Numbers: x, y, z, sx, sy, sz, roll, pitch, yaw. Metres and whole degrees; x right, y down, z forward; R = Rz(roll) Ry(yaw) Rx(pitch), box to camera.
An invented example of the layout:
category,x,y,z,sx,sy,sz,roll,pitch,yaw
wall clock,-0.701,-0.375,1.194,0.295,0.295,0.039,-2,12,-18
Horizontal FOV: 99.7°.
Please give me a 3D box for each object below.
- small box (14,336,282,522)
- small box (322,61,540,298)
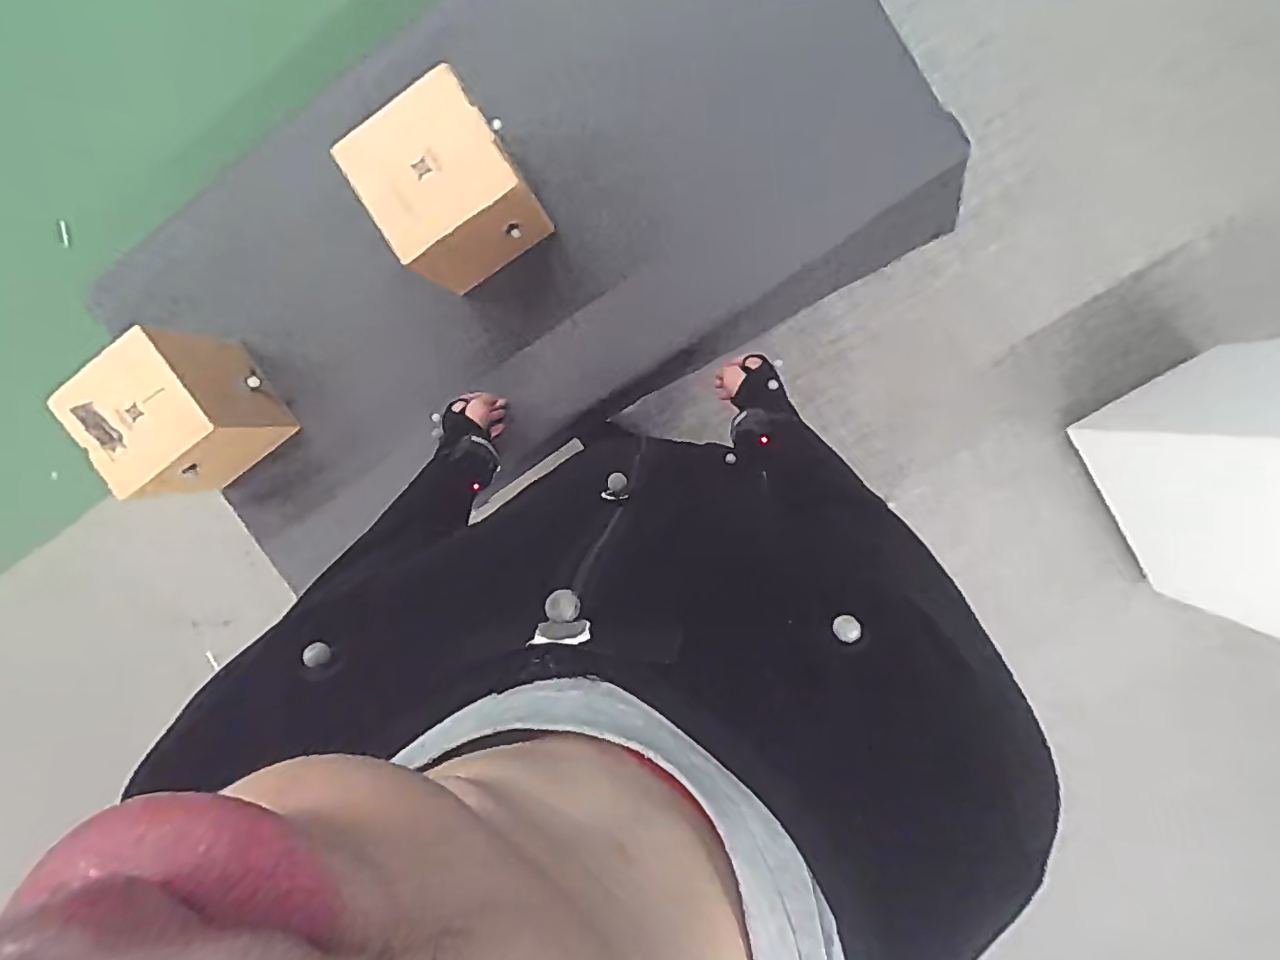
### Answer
category,x,y,z,sx,sy,sz,roll,pitch,yaw
small box,-0.651,-0.067,0.740,0.179,0.176,0.168,-36,94,4
small box,-0.247,-0.364,0.694,0.179,0.176,0.168,-33,93,7
